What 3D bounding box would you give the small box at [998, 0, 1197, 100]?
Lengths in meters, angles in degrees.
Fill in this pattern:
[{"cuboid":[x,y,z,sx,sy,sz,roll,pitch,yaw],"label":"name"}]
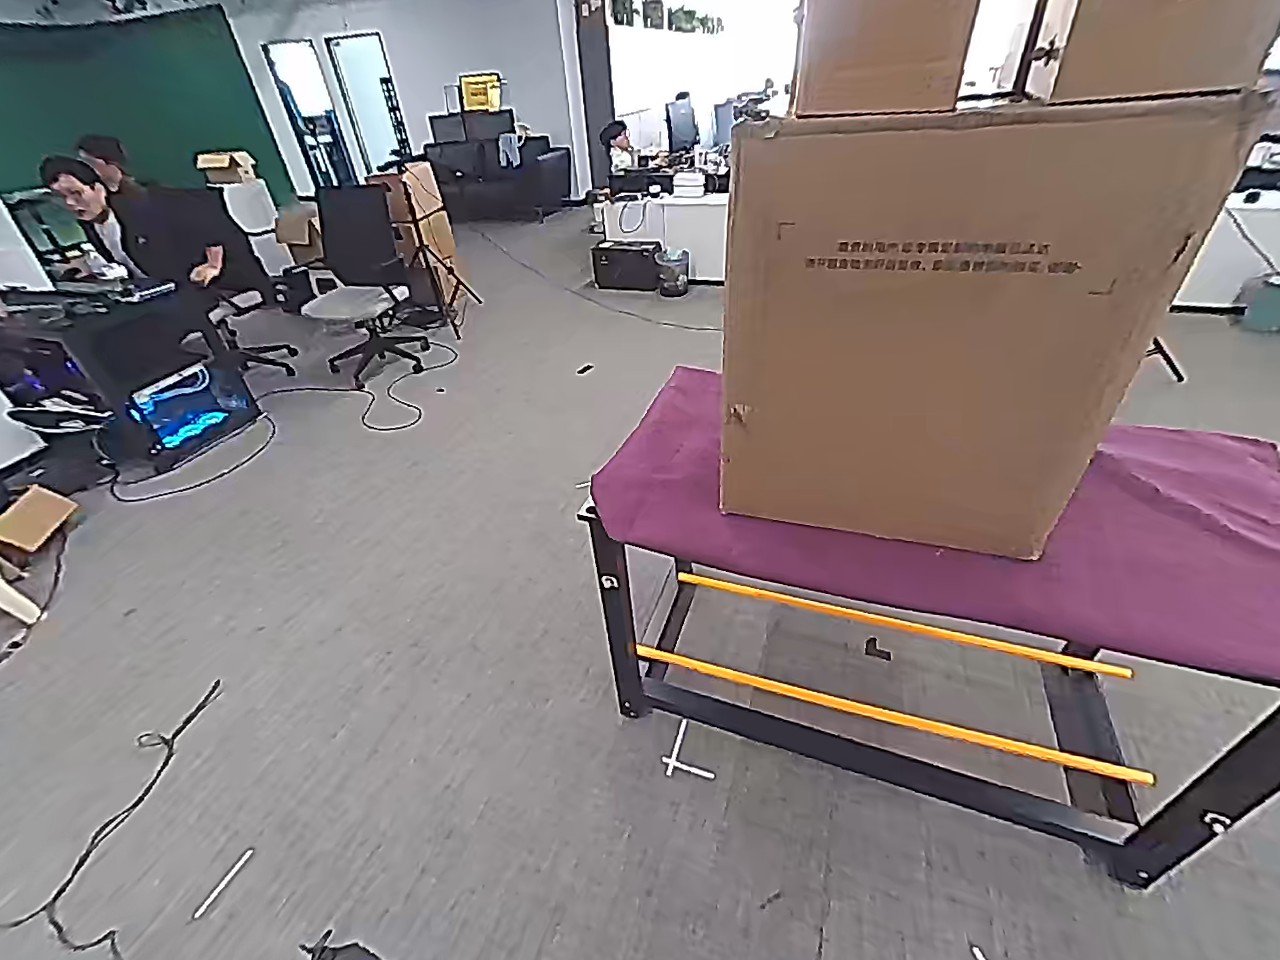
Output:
[{"cuboid":[0.594,-0.606,0.709,0.168,0.176,0.179,9,39,20],"label":"small box"}]
